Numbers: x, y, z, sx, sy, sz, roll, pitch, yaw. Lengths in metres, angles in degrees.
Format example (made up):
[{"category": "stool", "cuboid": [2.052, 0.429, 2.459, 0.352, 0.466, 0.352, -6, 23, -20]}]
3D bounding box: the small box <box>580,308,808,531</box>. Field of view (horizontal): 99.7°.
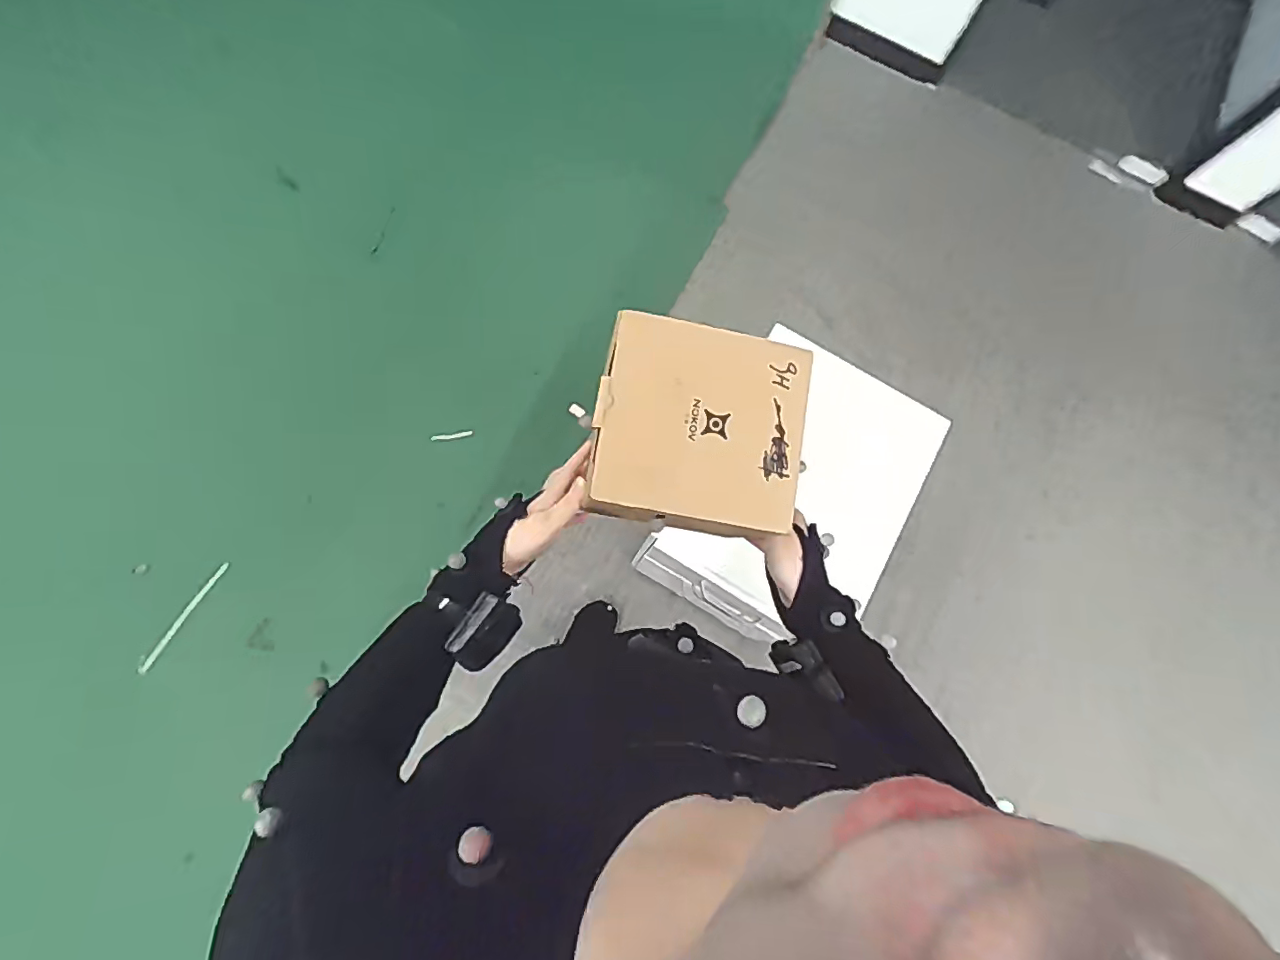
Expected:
[{"category": "small box", "cuboid": [0.039, -0.043, 0.529, 0.179, 0.176, 0.168, 10, 83, -6]}]
